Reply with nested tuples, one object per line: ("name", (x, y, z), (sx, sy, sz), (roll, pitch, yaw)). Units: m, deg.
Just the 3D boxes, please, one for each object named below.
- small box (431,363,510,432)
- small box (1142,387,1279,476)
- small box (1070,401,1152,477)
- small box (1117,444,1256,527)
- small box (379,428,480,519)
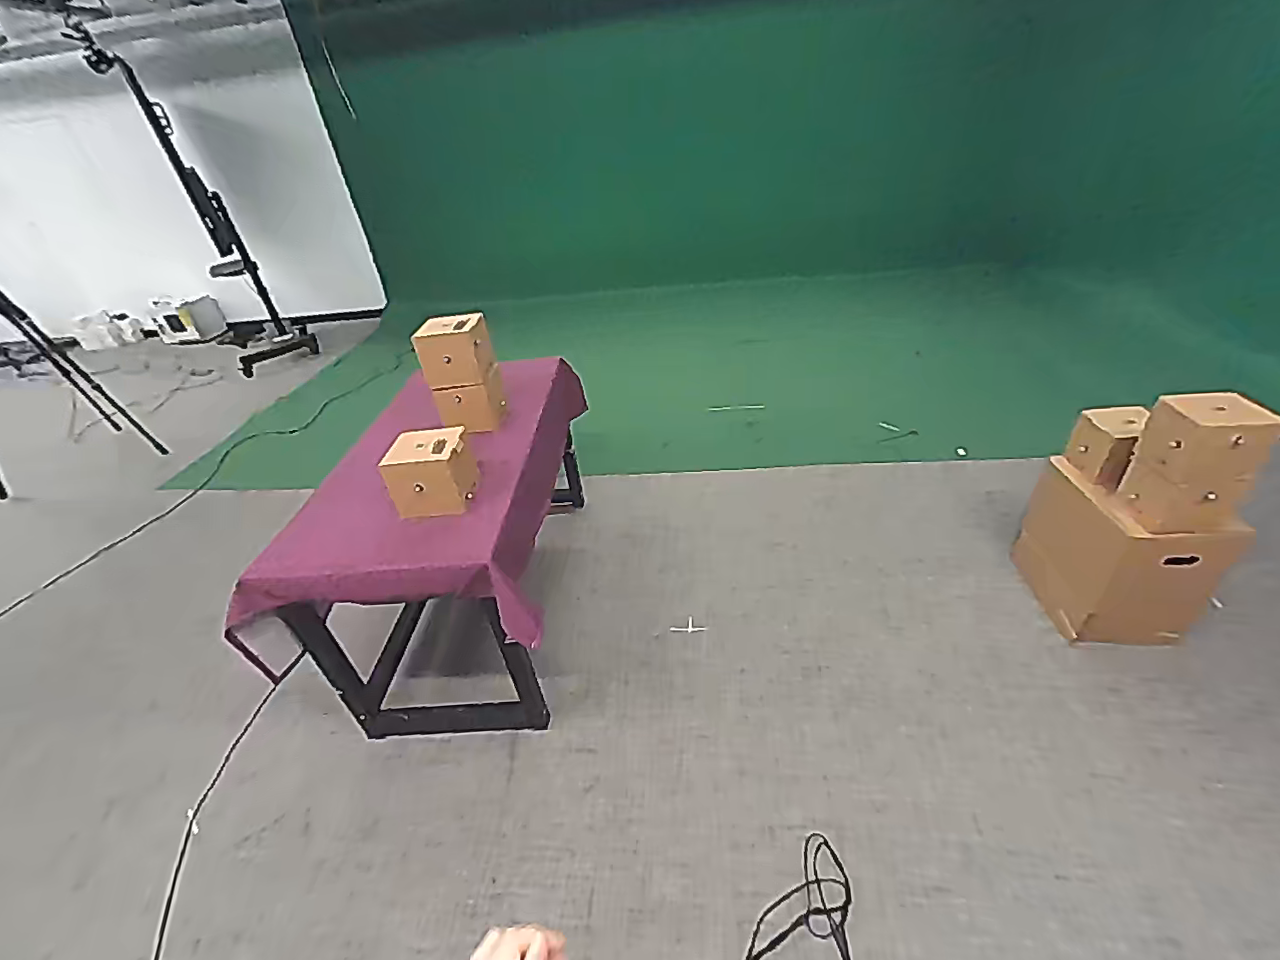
("small box", (-0.547, -0.266, 1.768), (0.179, 0.176, 0.168), (-4, 36, 6))
("small box", (1.429, -0.119, 1.367), (0.179, 0.176, 0.168), (-2, 35, 7))
("small box", (1.457, -0.121, 1.648), (0.179, 0.176, 0.168), (-4, 37, 8))
("small box", (1.458, 0.013, 1.459), (0.179, 0.176, 0.168), (-3, 34, 6))
("small box", (-0.537, -0.017, 1.413), (0.179, 0.176, 0.168), (-6, 34, 4))
